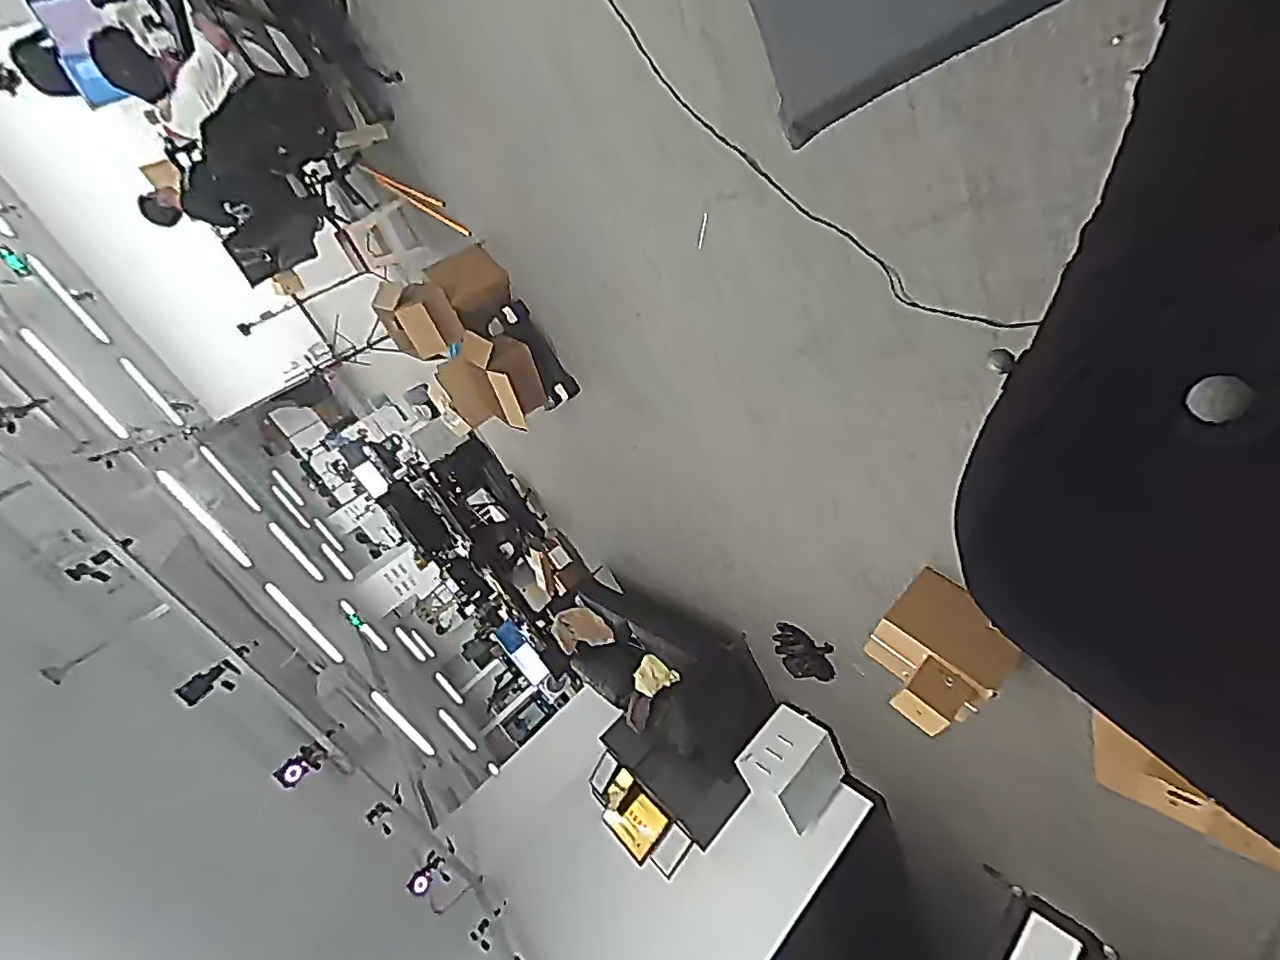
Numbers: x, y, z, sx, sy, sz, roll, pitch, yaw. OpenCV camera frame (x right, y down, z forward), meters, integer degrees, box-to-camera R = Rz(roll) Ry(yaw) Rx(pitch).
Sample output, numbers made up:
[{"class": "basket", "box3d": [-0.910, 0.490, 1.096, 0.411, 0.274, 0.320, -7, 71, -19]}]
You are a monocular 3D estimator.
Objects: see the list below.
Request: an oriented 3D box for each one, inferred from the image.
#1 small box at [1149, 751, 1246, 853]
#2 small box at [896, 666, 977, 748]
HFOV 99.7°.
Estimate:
[{"class": "small box", "box3d": [1.698, 0.972, 1.648, 0.168, 0.176, 0.179, 20, 142, 51]}, {"class": "small box", "box3d": [1.031, 0.785, 1.878, 0.168, 0.176, 0.179, 37, 150, 30]}]
